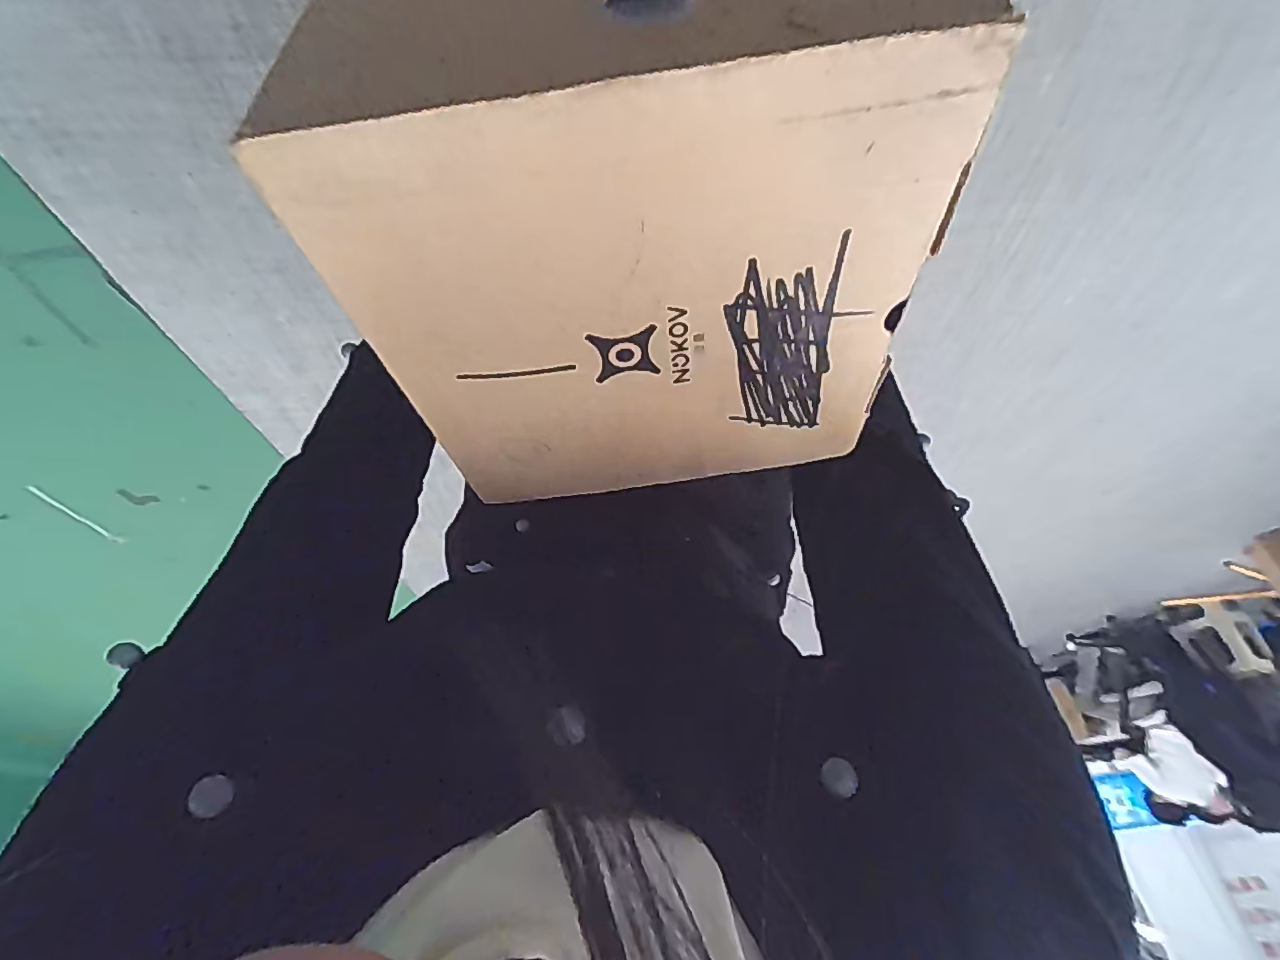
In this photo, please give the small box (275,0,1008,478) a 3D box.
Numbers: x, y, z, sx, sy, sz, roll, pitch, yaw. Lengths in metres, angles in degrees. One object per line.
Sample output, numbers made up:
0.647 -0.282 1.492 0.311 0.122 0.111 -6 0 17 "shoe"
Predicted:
-0.001 -0.121 0.232 0.179 0.176 0.168 -6 147 3 "small box"
